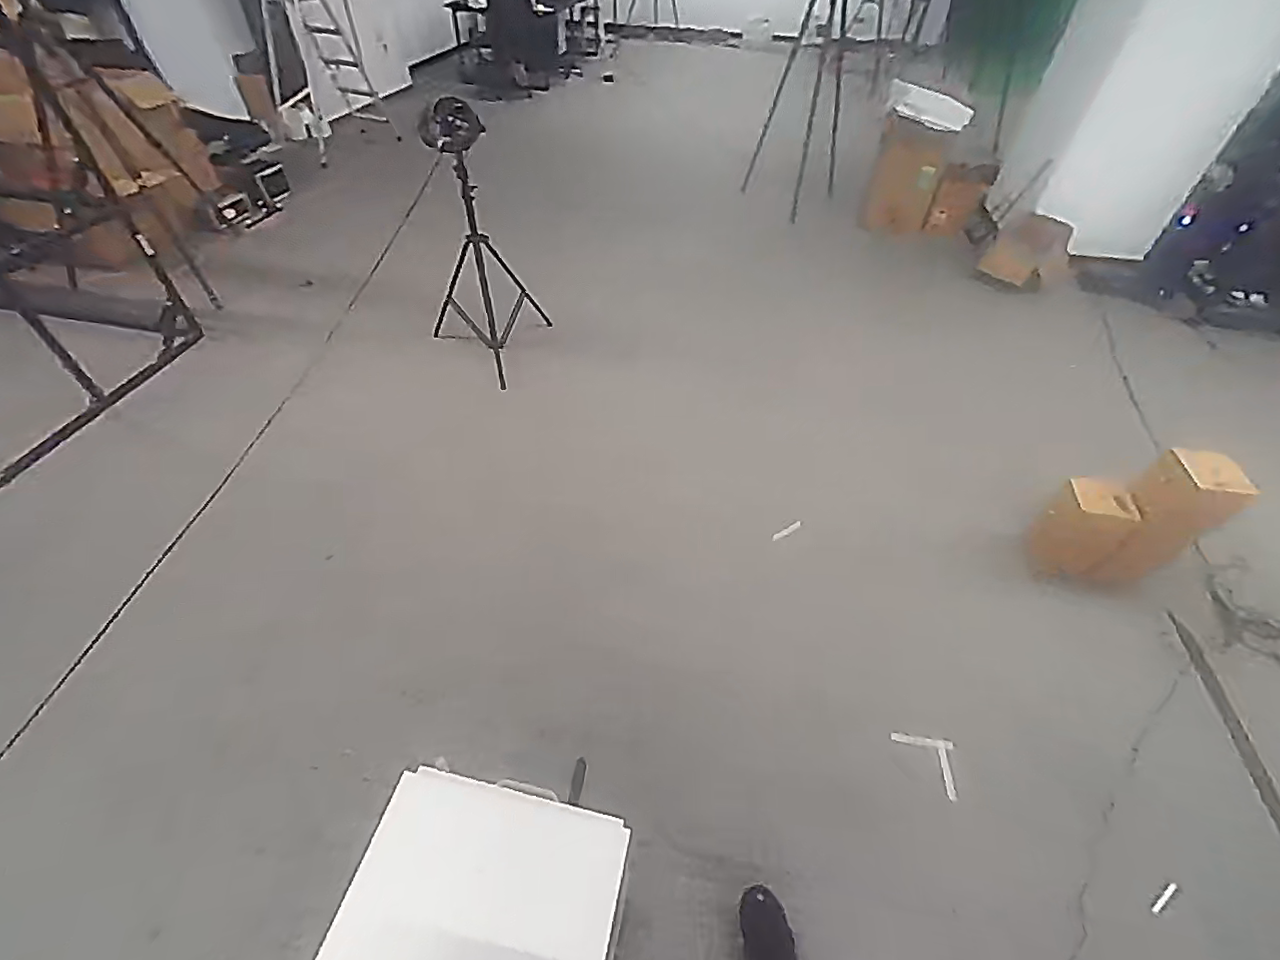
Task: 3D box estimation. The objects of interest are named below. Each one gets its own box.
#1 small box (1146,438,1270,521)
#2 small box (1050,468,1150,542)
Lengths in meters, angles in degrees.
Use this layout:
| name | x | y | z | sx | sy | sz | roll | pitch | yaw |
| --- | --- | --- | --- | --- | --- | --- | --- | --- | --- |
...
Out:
| name | x | y | z | sx | sy | sz | roll | pitch | yaw |
| --- | --- | --- | --- | --- | --- | --- | --- | --- | --- |
| small box | 1.714 | -0.002 | 1.649 | 0.168 | 0.176 | 0.179 | 7 | 46 | 7 |
| small box | 1.511 | 0.086 | 1.790 | 0.179 | 0.176 | 0.168 | 10 | 47 | 12 |
